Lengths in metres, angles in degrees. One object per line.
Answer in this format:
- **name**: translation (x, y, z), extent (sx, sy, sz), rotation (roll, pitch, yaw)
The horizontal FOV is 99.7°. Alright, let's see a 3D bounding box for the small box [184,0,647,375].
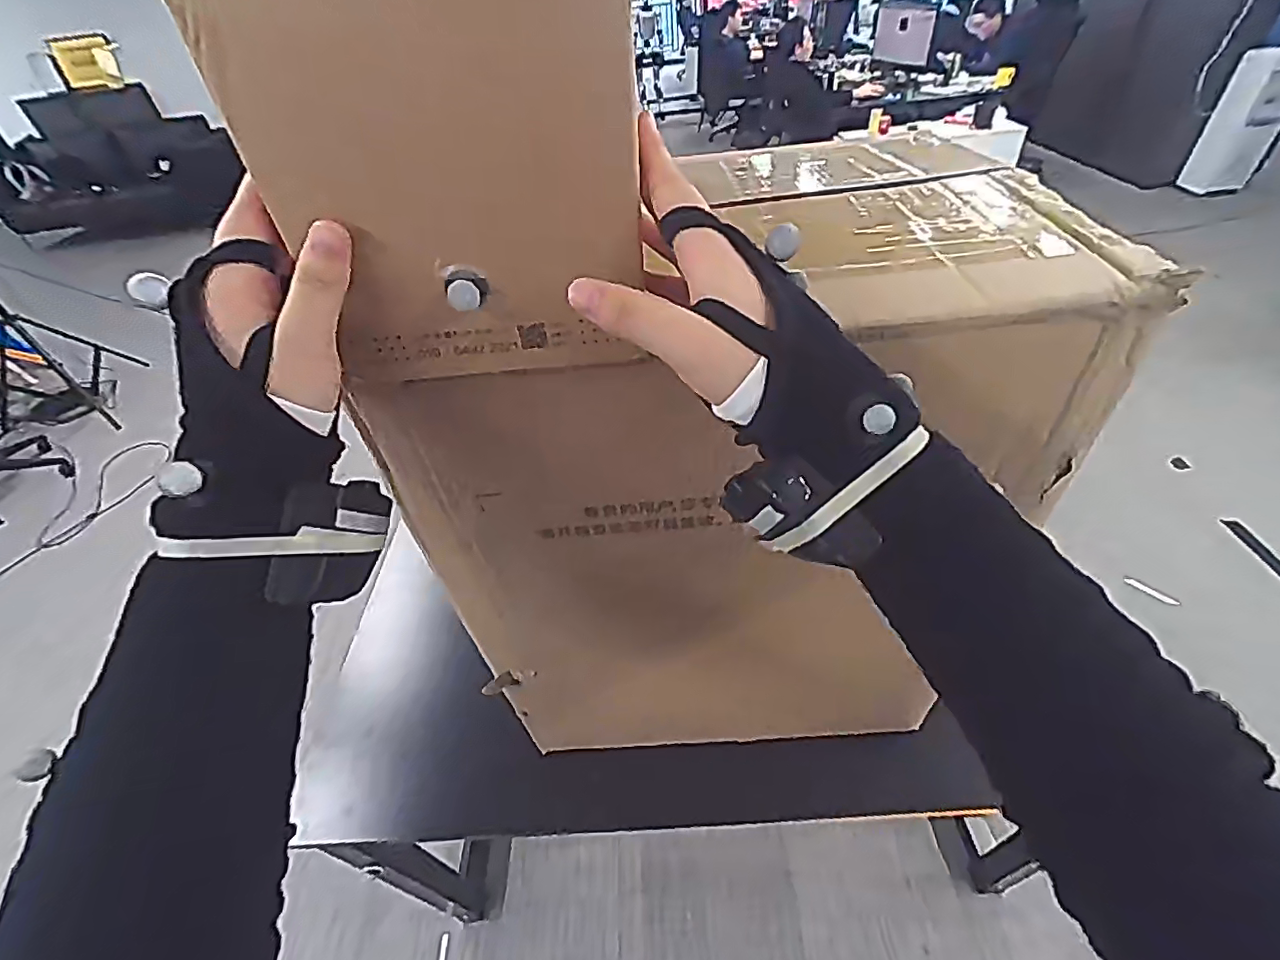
- **small box**: translation (-0.086, -0.180, 0.307), extent (0.168, 0.176, 0.179), rotation (-5, 46, 0)
